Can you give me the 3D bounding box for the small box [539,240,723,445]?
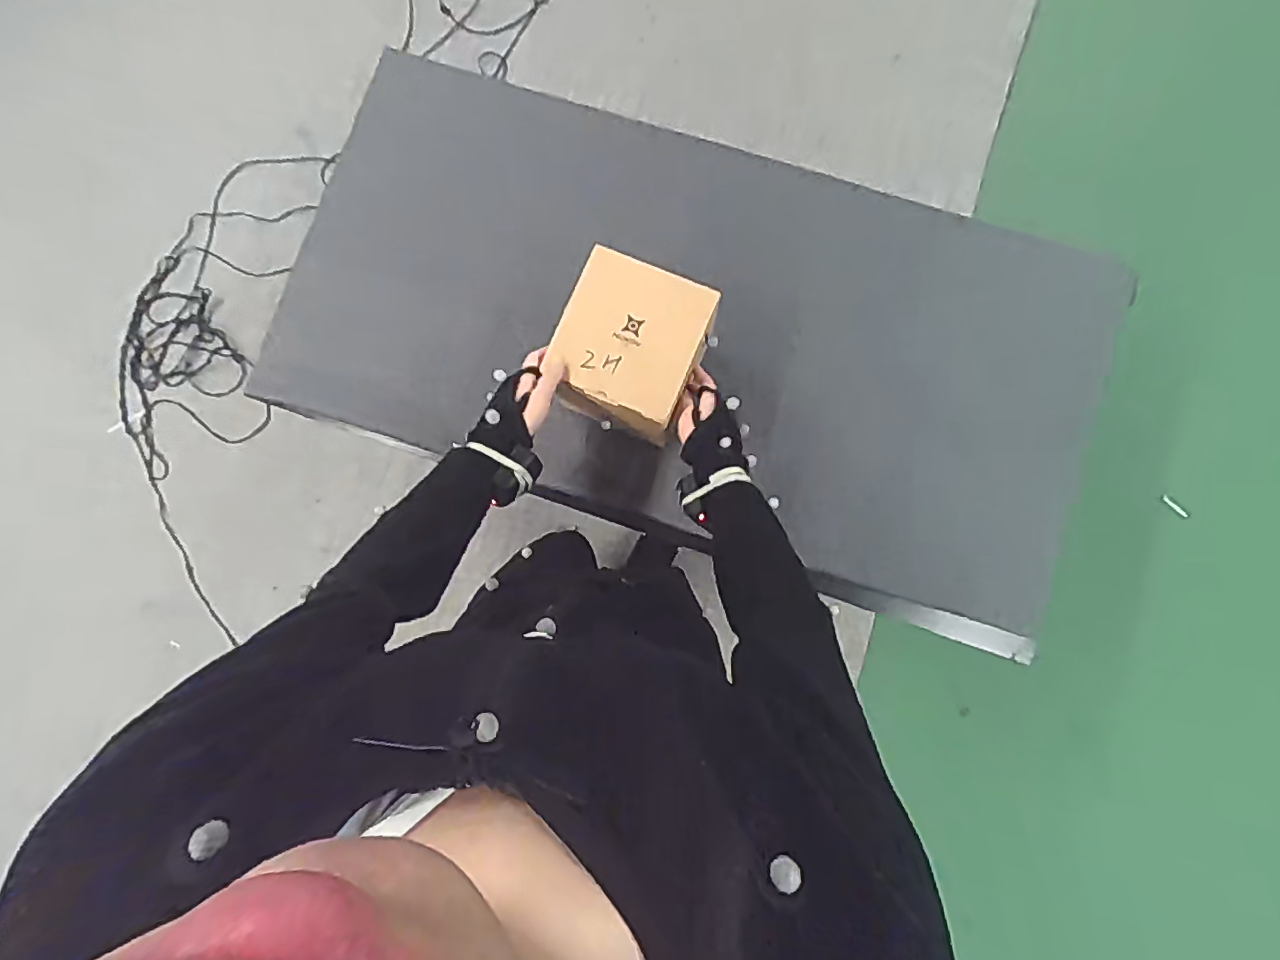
[{"bbox_3d":[-0.009,-0.165,0.704,0.168,0.176,0.179,23,84,5],"label":"small box"}]
